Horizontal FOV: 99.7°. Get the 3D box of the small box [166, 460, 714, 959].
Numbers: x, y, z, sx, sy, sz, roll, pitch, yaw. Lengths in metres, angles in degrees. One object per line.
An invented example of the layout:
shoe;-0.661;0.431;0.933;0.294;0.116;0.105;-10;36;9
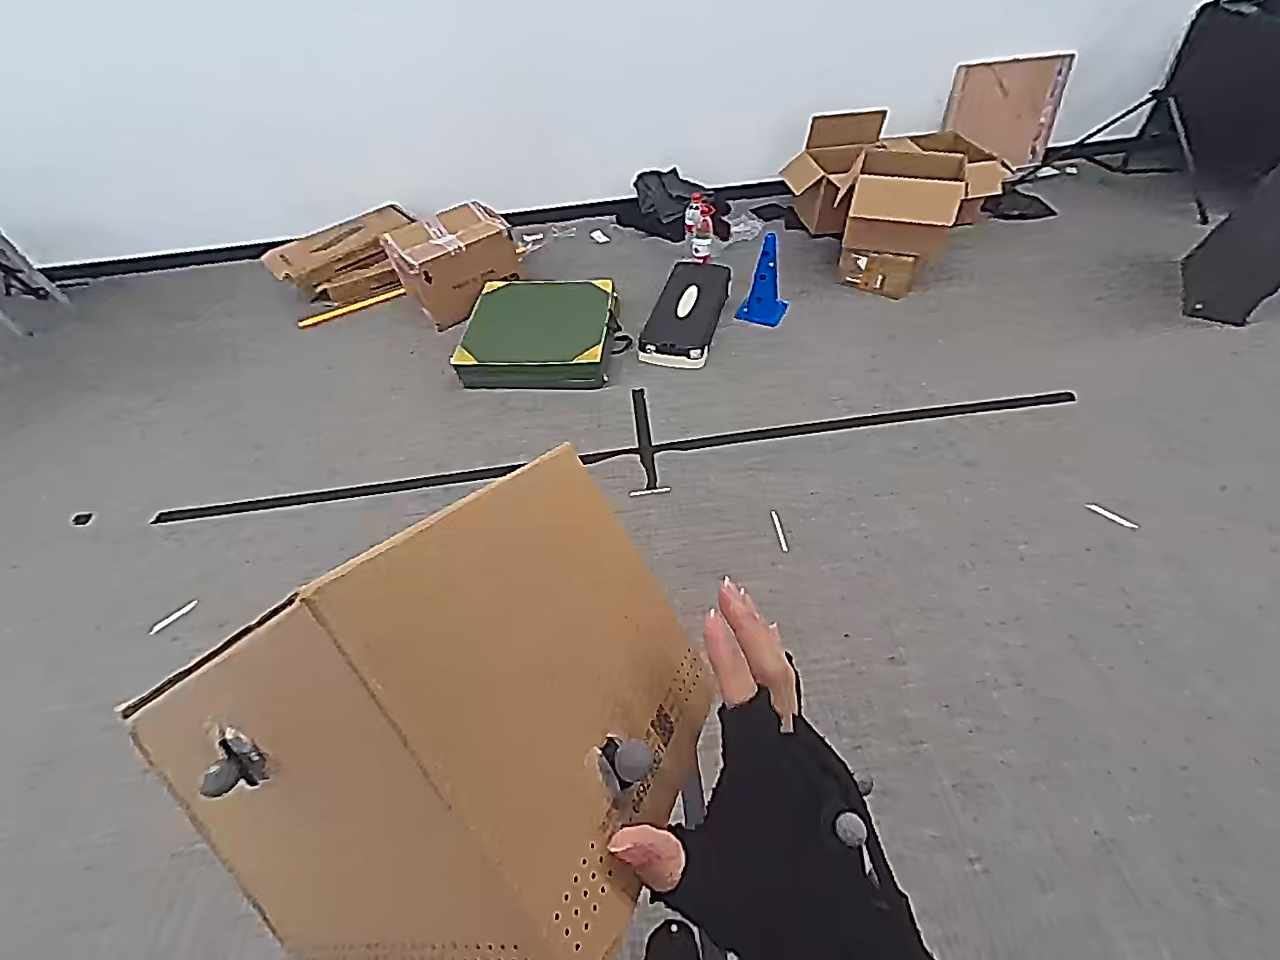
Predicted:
small box;-0.090;0.119;0.292;0.179;0.176;0.168;-28;7;29
